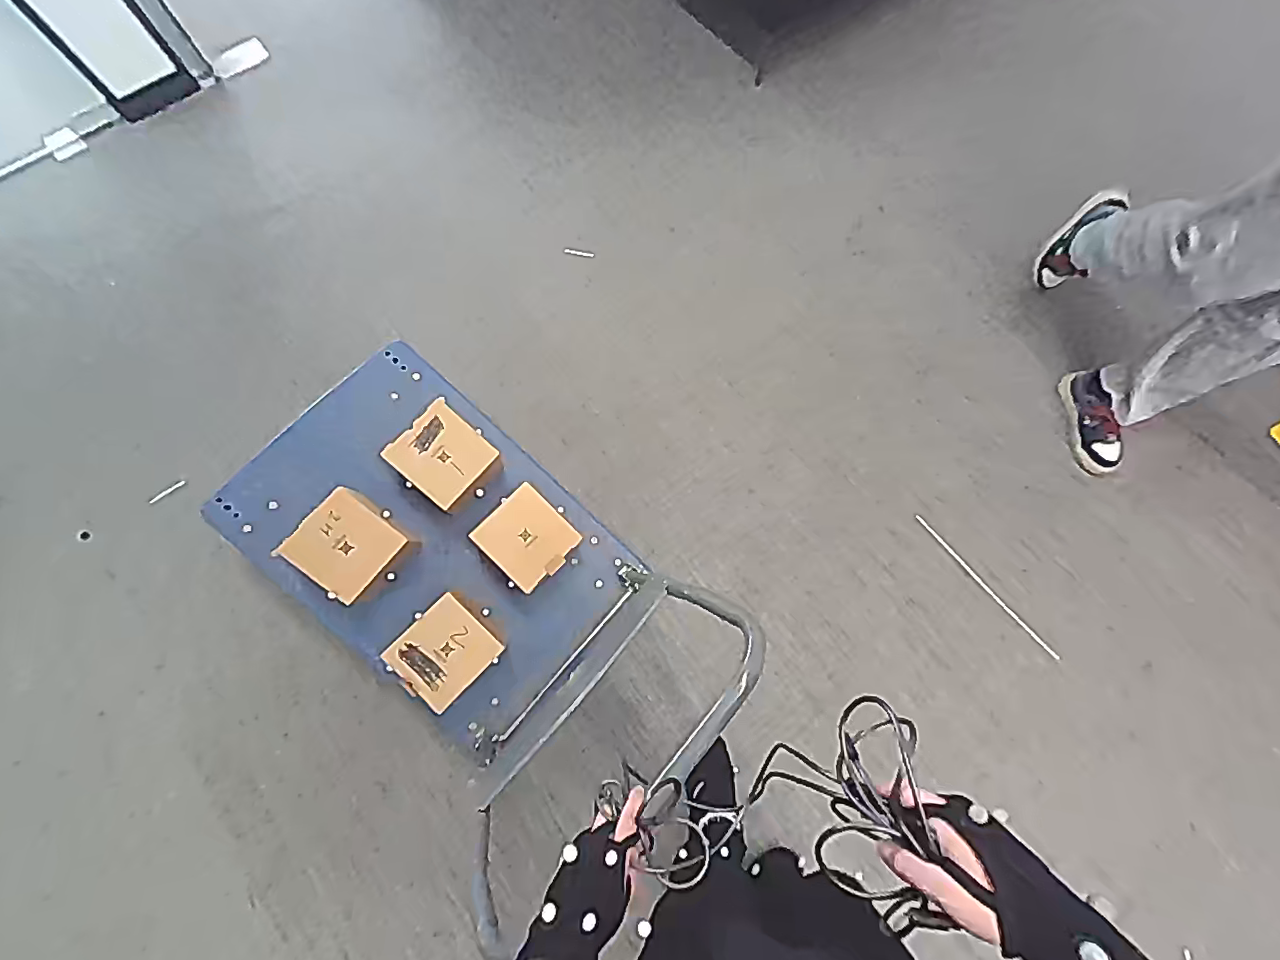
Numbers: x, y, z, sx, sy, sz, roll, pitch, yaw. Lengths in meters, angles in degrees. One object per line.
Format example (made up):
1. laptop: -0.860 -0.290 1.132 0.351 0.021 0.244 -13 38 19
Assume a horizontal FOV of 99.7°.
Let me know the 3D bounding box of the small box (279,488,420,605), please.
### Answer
1. small box: -0.595 0.139 1.138 0.179 0.176 0.168 41 76 -3

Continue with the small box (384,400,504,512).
1. small box: -0.423 -0.042 1.195 0.179 0.176 0.168 43 78 -4

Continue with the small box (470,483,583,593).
1. small box: -0.251 0.132 1.206 0.179 0.176 0.168 46 77 -3
